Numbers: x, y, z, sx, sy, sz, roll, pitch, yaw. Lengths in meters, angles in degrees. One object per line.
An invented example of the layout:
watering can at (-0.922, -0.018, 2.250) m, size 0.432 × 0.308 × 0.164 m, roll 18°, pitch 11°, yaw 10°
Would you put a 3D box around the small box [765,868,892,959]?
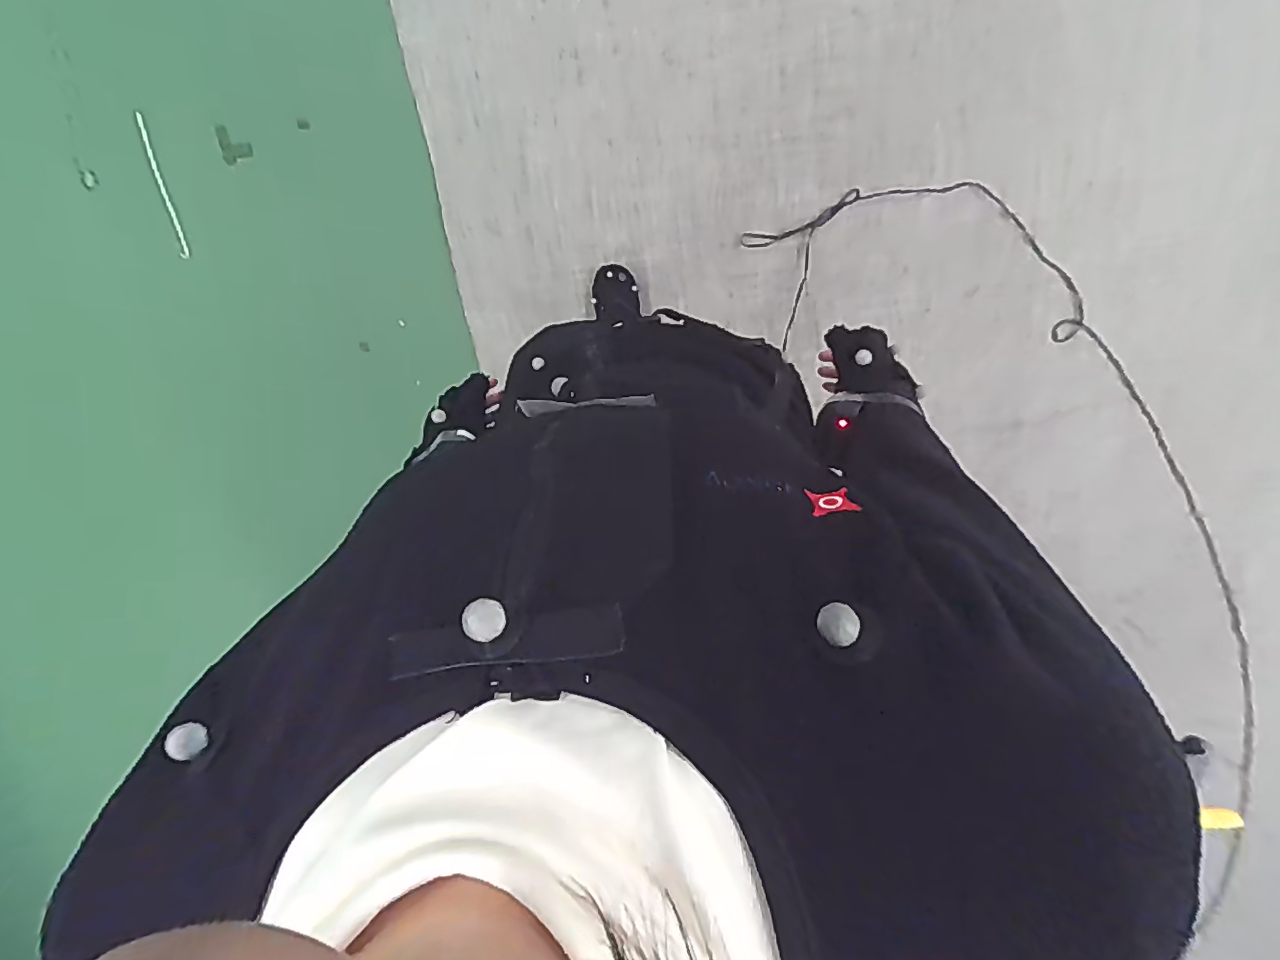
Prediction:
small box at (0.297, 0.752, 0.844) m, size 0.168 × 0.176 × 0.179 m, roll -10°, pitch 108°, yaw 6°
